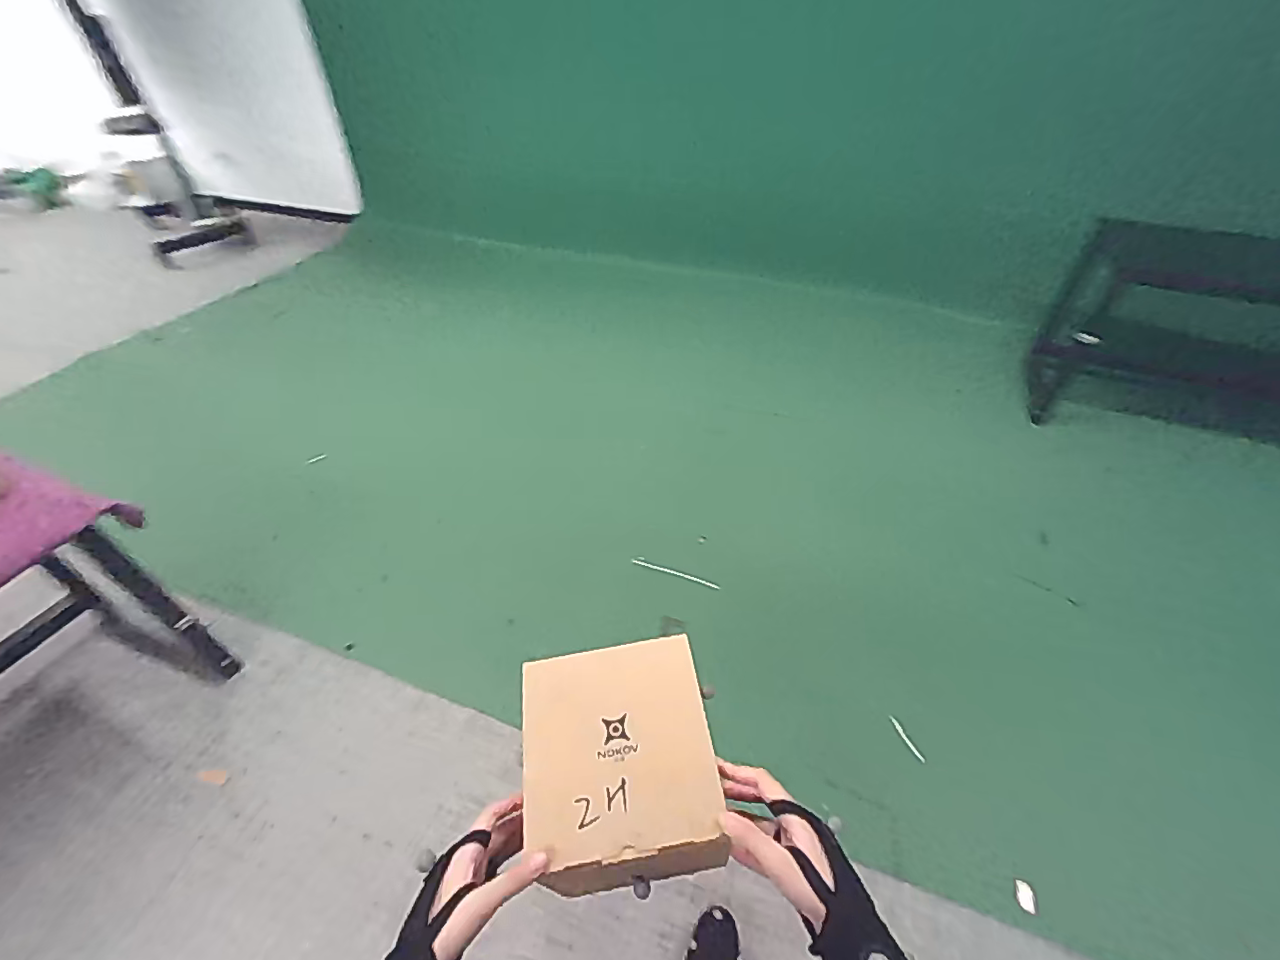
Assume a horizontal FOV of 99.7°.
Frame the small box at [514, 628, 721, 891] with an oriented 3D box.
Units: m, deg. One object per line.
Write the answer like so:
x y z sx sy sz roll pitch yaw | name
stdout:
-0.023 0.275 0.534 0.168 0.176 0.179 -10 47 -3 | small box
